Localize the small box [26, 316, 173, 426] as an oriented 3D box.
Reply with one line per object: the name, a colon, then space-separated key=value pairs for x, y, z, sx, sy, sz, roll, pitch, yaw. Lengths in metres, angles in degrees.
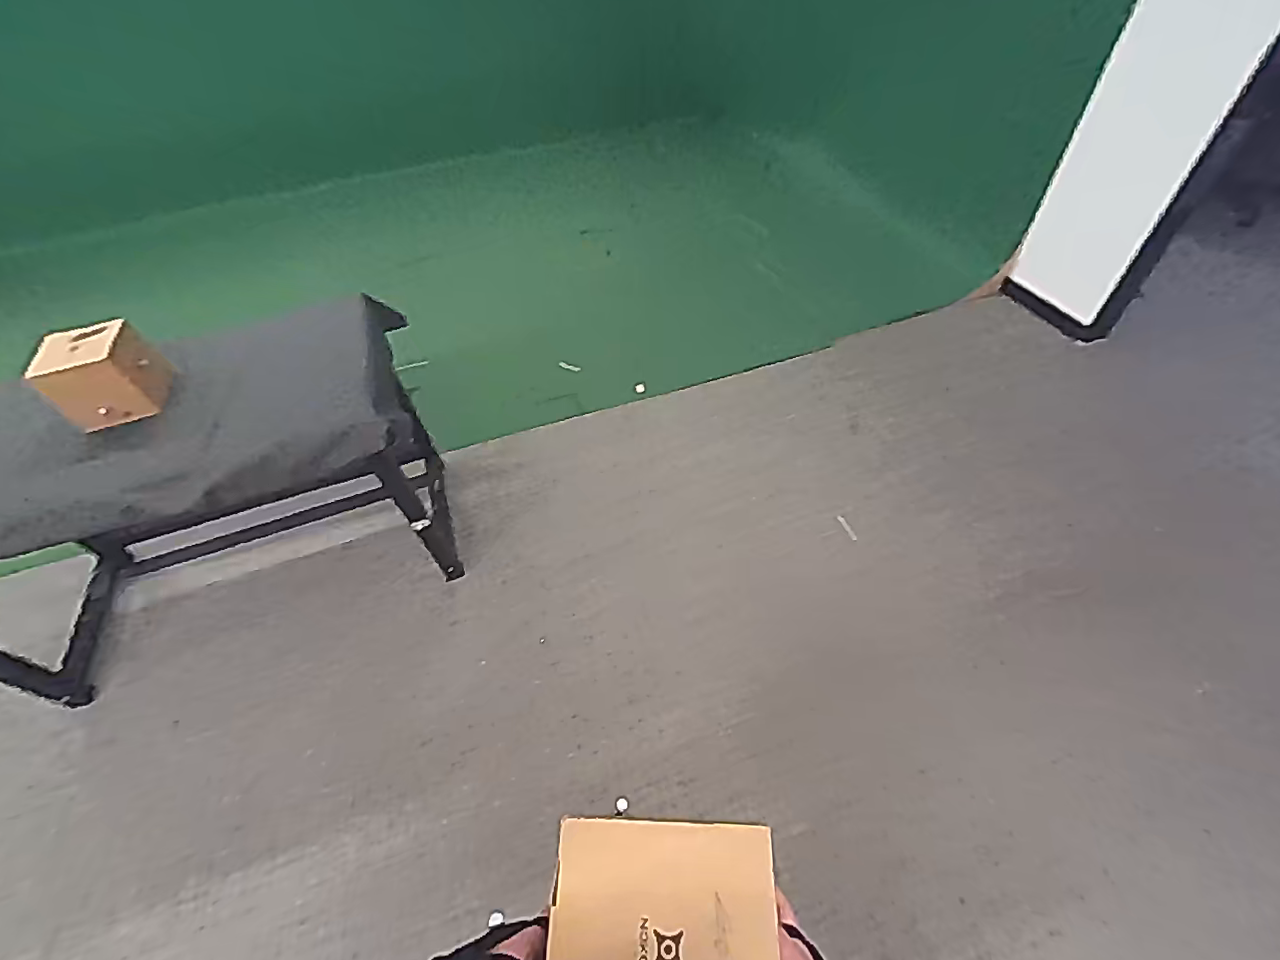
small box: x=-1.265 y=-0.258 z=1.286 sx=0.168 sy=0.176 sz=0.179 roll=-18 pitch=52 yaw=-10
